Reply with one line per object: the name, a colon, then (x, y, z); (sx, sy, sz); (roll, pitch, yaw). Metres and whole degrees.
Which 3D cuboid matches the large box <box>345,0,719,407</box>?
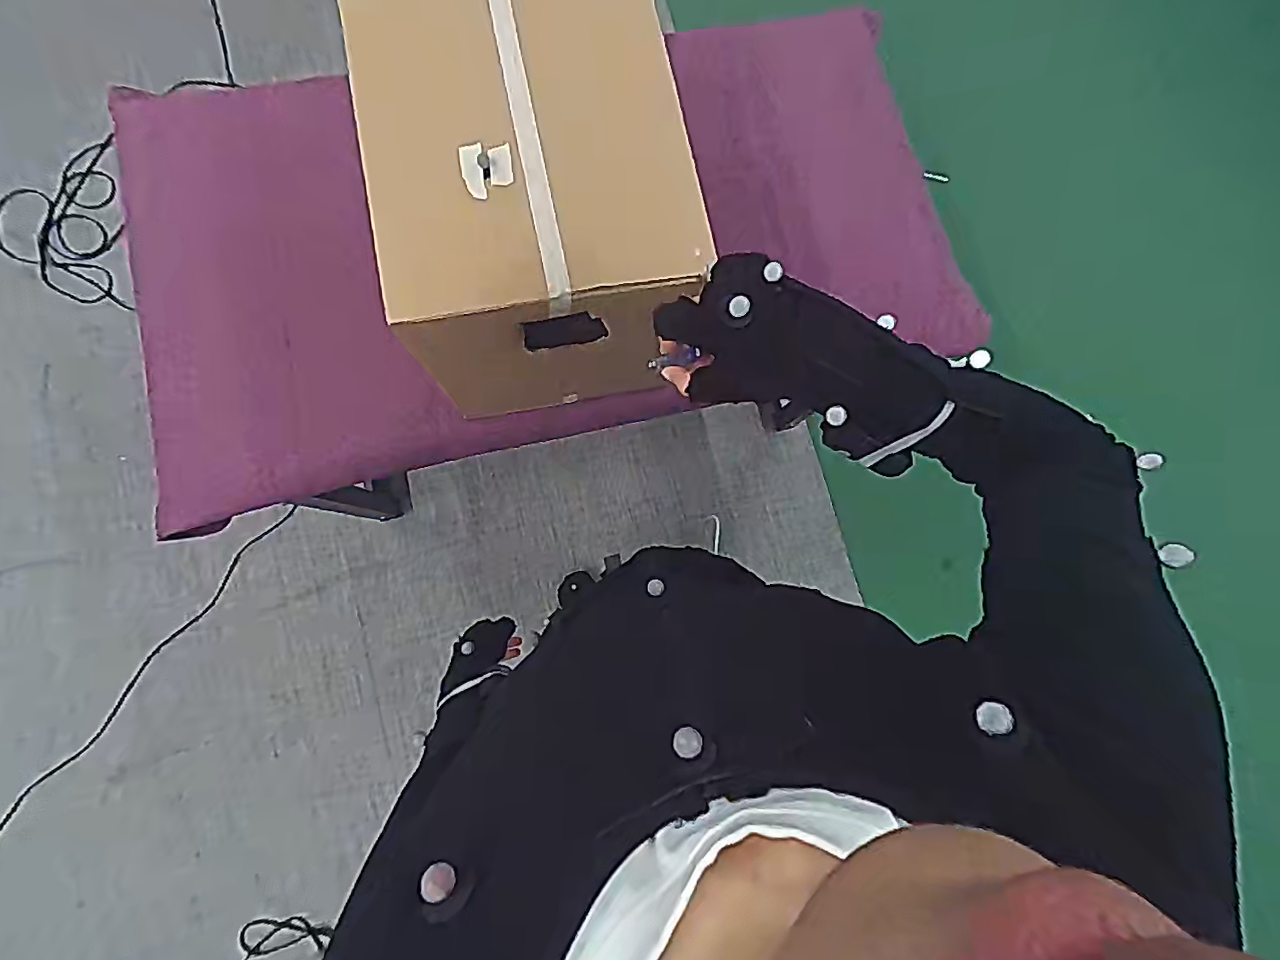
large box: (-0.128, -0.345, 0.685); (0.320, 0.320, 0.408); (-11, 83, -7)
